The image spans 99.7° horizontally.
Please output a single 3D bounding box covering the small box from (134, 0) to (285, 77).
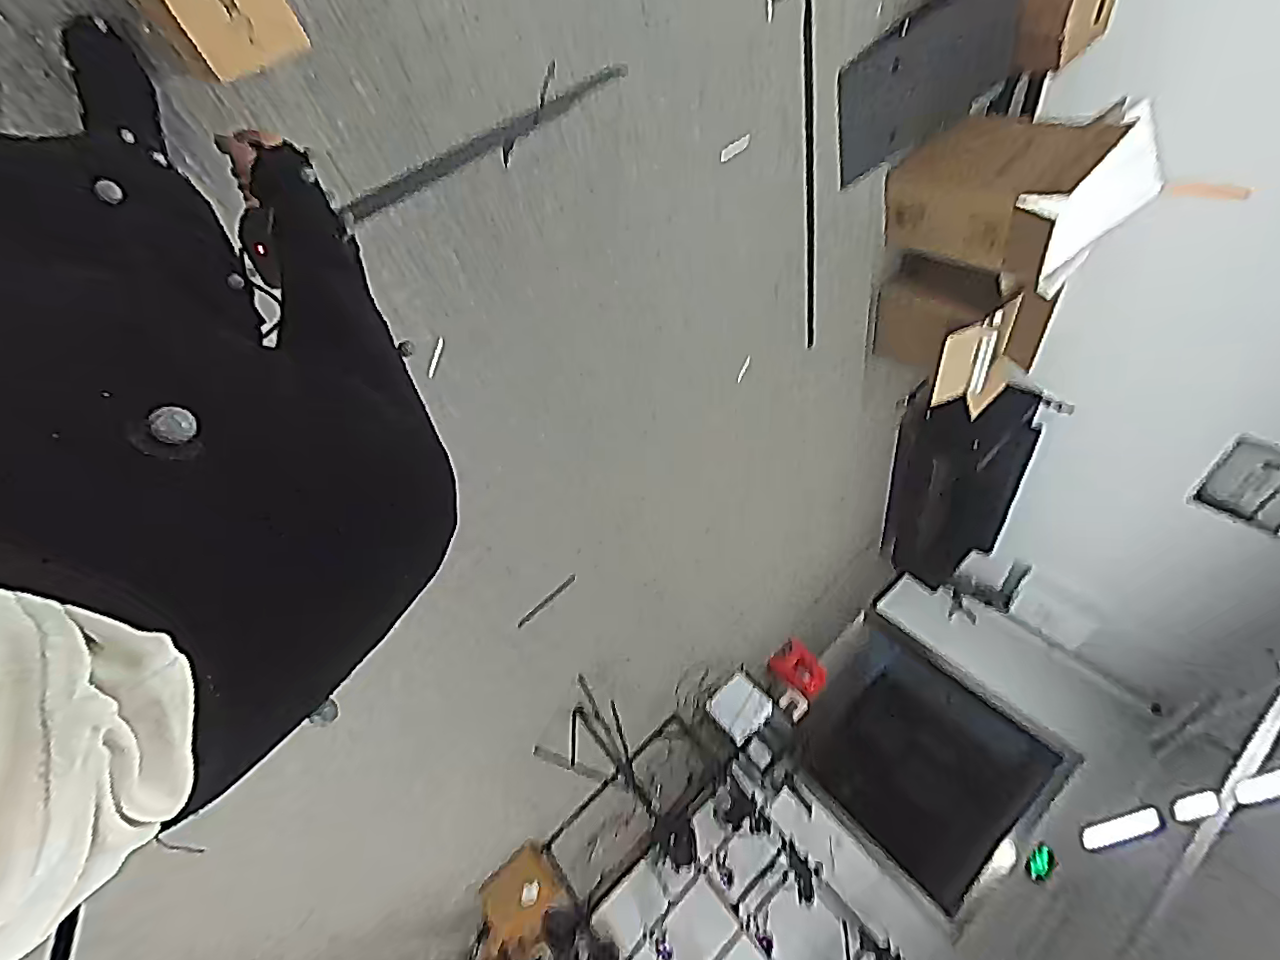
[{"bbox_3d":[-0.801,-0.870,0.984,0.179,0.176,0.168,-41,141,-13],"label":"small box"}]
